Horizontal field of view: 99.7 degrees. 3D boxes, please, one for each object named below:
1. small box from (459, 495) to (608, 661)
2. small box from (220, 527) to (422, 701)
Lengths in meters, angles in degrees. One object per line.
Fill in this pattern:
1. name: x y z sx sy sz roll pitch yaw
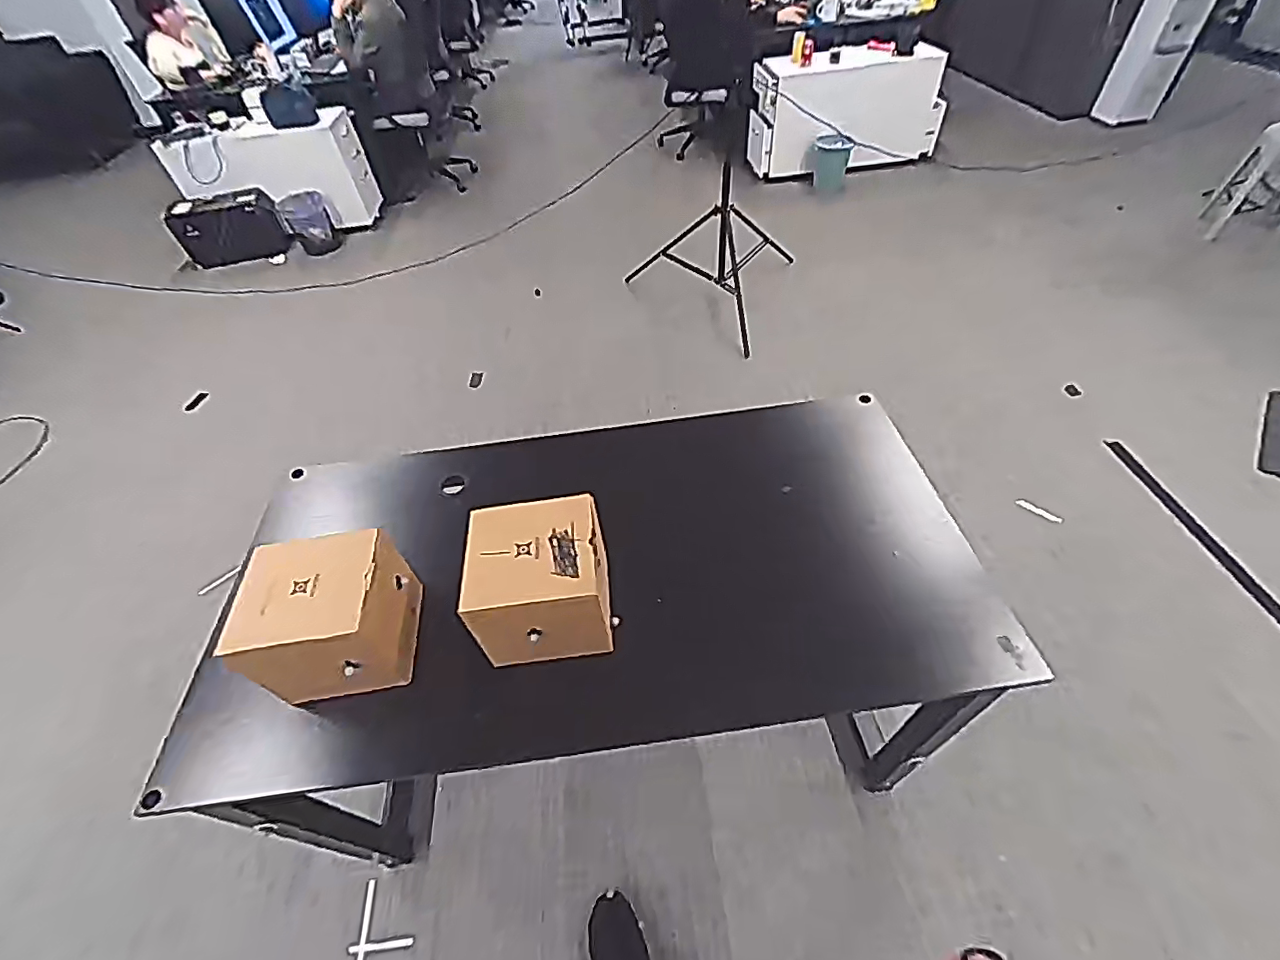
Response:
1. small box: -0.141 0.146 0.784 0.179 0.176 0.168 -8 49 0
2. small box: -0.432 0.194 0.772 0.179 0.176 0.168 -11 48 -2
